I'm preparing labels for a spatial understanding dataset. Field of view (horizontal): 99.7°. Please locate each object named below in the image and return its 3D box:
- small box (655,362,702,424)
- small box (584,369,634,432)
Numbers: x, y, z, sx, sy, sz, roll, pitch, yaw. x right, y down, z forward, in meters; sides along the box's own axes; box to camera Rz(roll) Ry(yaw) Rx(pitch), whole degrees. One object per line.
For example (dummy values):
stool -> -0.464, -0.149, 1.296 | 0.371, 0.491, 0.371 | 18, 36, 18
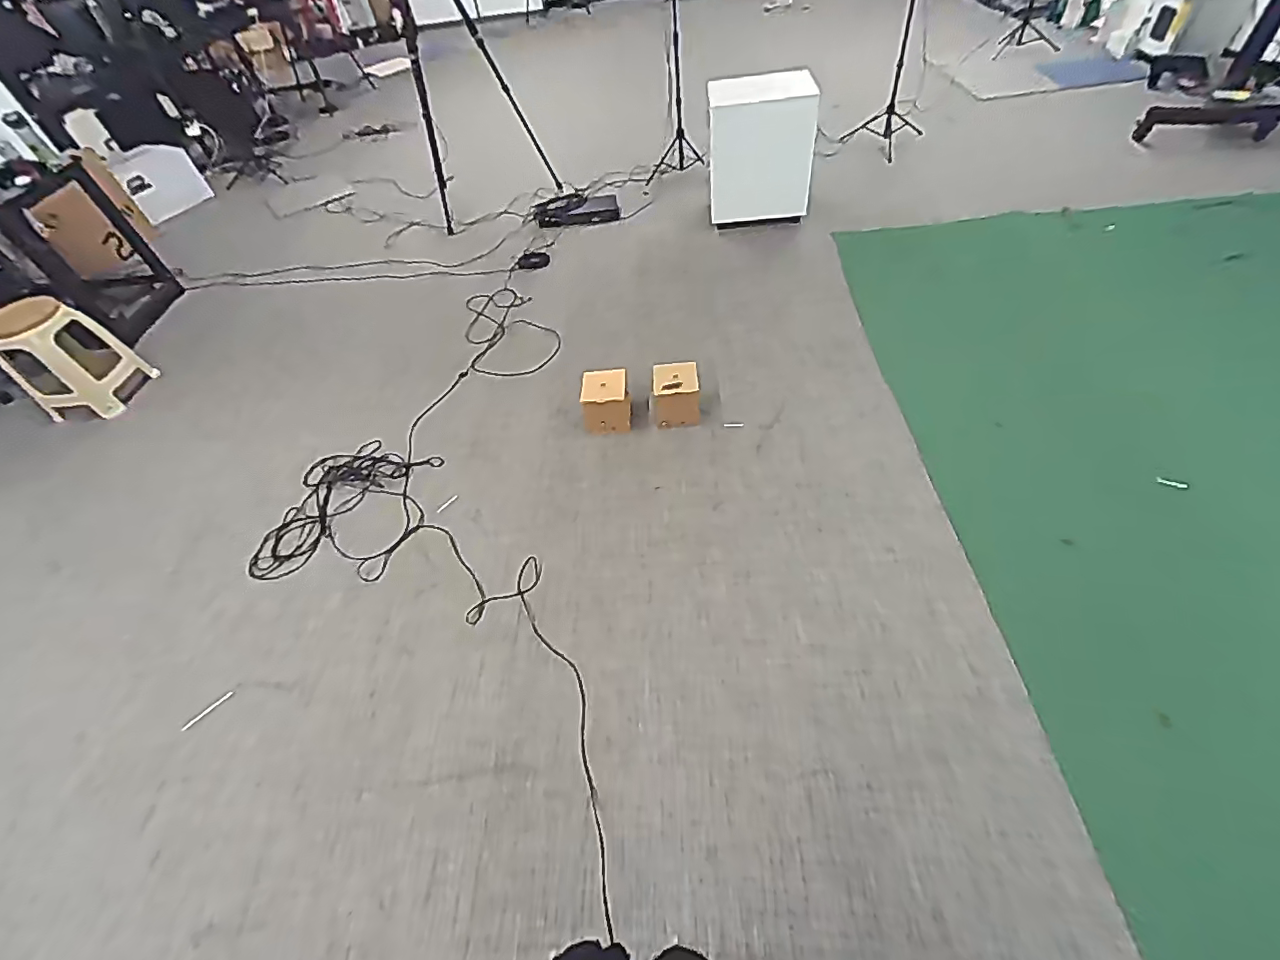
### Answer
small box -> 0.148, -0.328, 2.073 | 0.168, 0.176, 0.179 | -4, 49, 5
small box -> -0.116, -0.306, 2.097 | 0.168, 0.176, 0.179 | -4, 50, 6
